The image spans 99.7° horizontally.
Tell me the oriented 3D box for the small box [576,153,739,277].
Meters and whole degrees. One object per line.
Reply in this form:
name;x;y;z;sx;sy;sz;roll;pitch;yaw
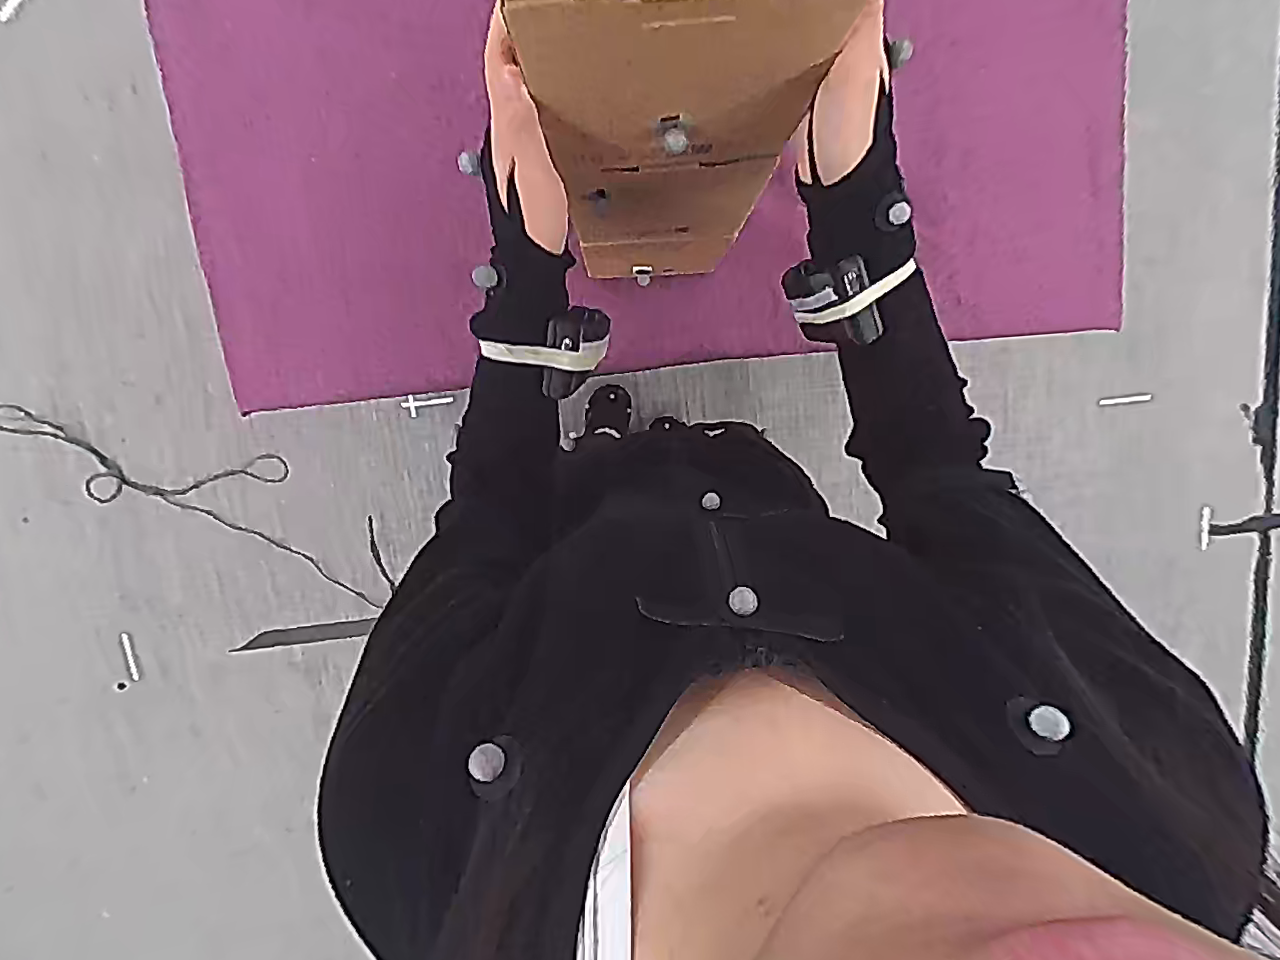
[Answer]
small box;0.013;-0.346;0.621;0.168;0.176;0.179;-4;99;-1

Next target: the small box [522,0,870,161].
small box;0.018;-0.307;0.293;0.168;0.176;0.179;-5;98;0
